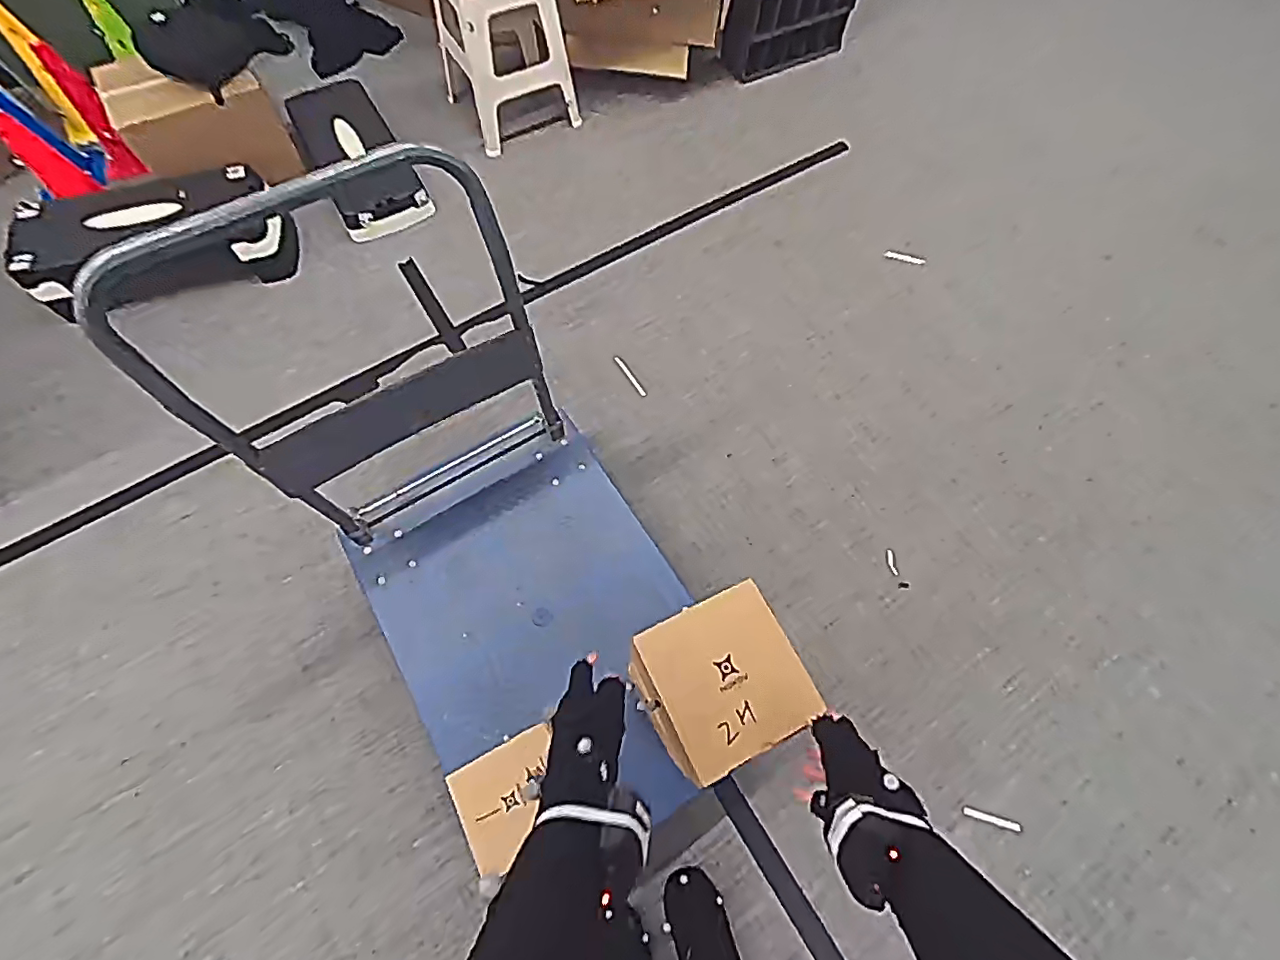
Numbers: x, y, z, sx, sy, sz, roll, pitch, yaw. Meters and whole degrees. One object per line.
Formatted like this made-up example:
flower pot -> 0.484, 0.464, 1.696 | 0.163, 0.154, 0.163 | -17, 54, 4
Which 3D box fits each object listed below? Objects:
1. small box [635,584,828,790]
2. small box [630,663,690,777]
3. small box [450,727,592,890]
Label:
small box -> 0.099, 0.262, 0.689 | 0.168, 0.176, 0.179 | -24, 69, -11
small box -> 0.098, 0.331, 0.838 | 0.179, 0.176, 0.168 | -25, 69, -12
small box -> -0.191, 0.539, 0.920 | 0.179, 0.176, 0.168 | -27, 69, -11
